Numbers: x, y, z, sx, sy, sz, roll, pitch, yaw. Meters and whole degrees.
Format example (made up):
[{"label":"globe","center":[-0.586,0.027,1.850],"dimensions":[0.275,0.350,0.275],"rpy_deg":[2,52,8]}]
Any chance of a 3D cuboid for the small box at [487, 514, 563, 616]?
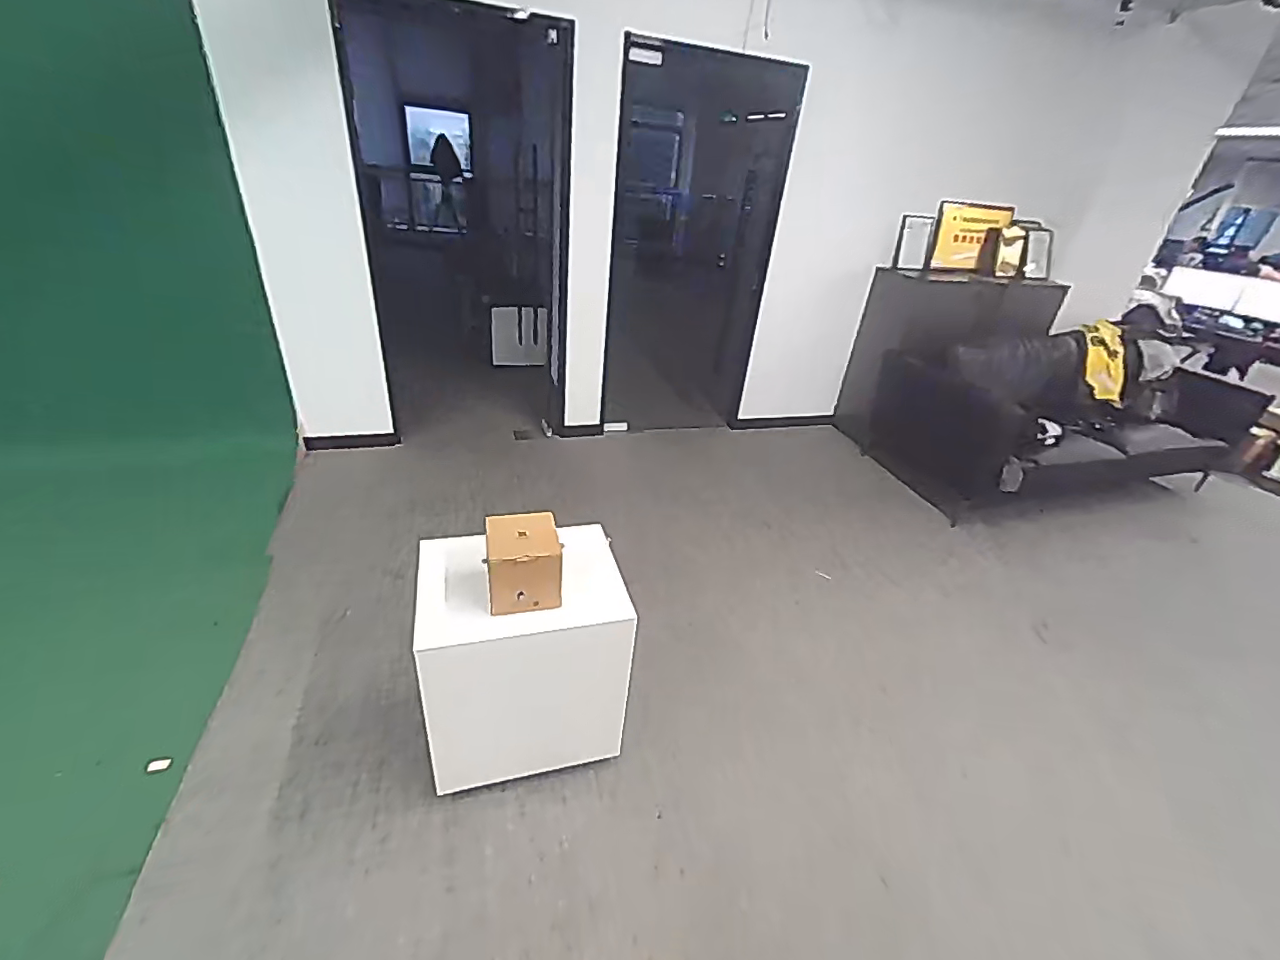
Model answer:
[{"label":"small box","center":[-0.283,0.202,1.308],"dimensions":[0.168,0.176,0.179],"rpy_deg":[-3,31,-17]}]
